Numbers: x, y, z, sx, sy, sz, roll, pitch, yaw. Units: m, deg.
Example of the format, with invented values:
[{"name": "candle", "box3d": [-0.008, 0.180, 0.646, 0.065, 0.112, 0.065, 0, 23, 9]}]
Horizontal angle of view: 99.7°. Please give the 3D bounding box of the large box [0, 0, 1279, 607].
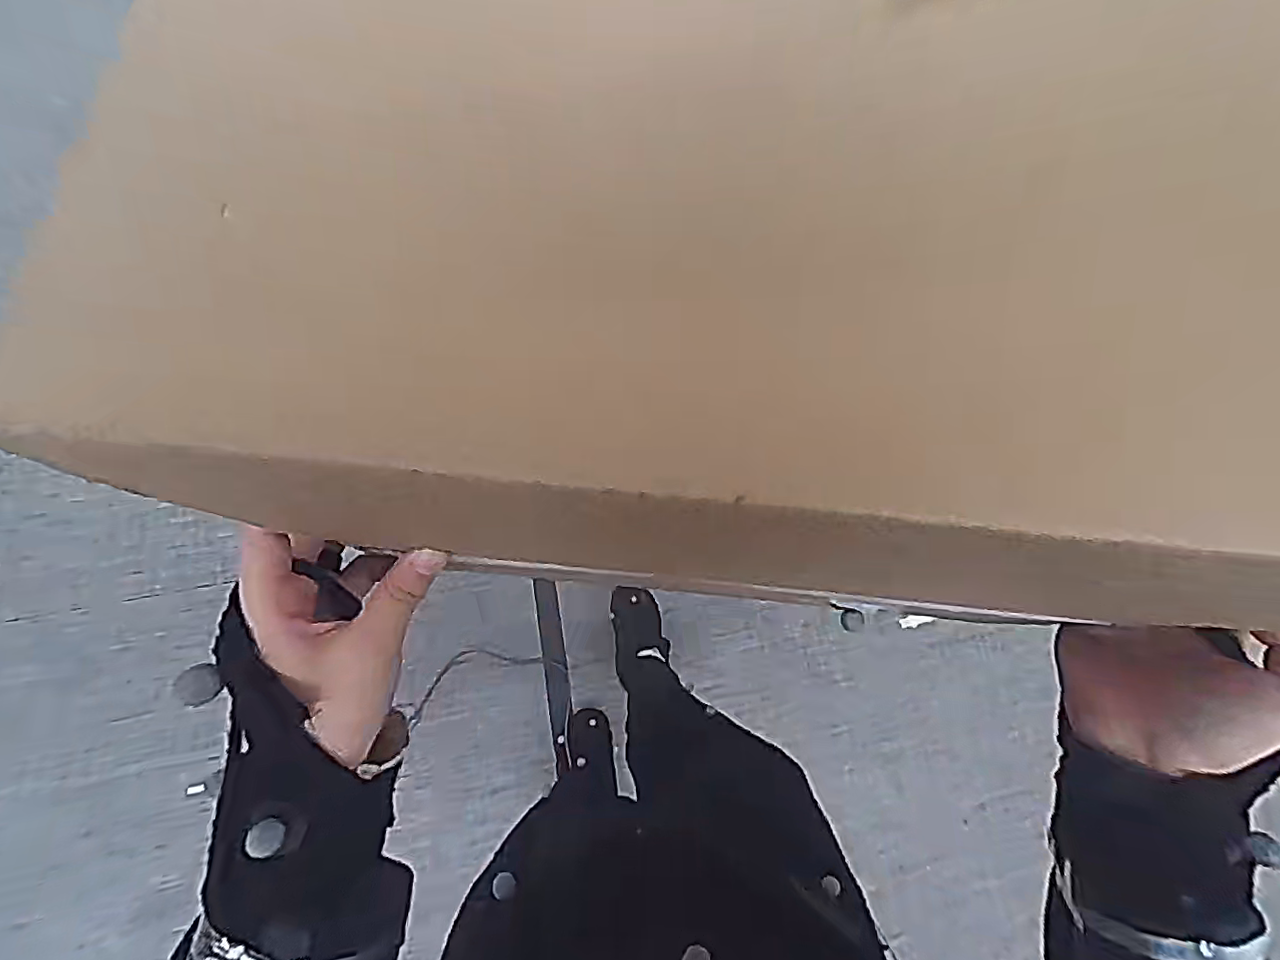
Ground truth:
[{"name": "large box", "box3d": [0.055, -0.106, 0.294, 0.408, 0.320, 0.320, 4, 77, -2]}]
